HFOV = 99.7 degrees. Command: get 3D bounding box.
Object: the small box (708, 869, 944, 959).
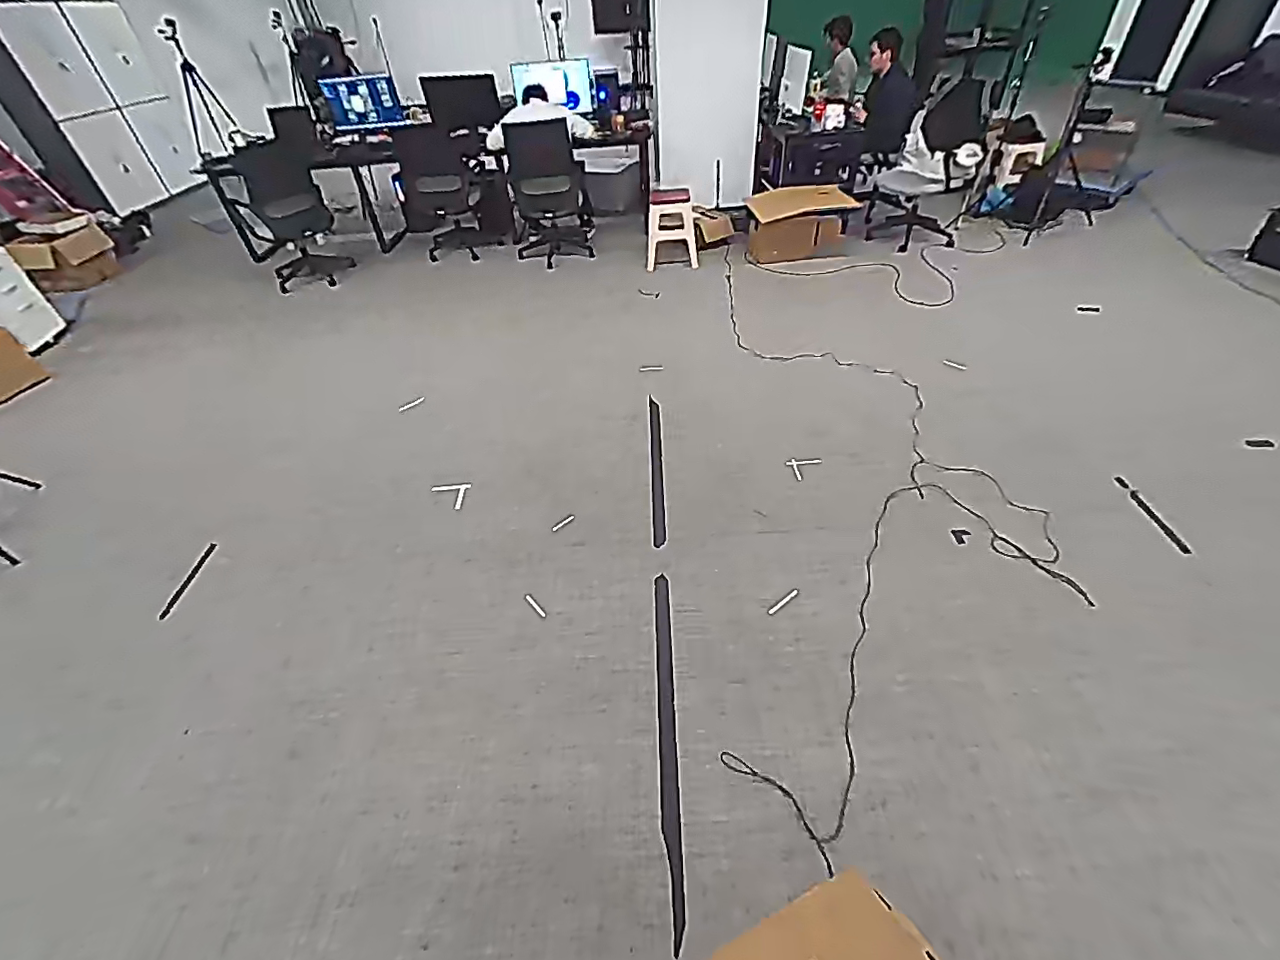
[{"bbox_3d":[0.178,0.469,0.420,0.179,0.168,0.176,-24,85,-8],"label":"small box"}]
